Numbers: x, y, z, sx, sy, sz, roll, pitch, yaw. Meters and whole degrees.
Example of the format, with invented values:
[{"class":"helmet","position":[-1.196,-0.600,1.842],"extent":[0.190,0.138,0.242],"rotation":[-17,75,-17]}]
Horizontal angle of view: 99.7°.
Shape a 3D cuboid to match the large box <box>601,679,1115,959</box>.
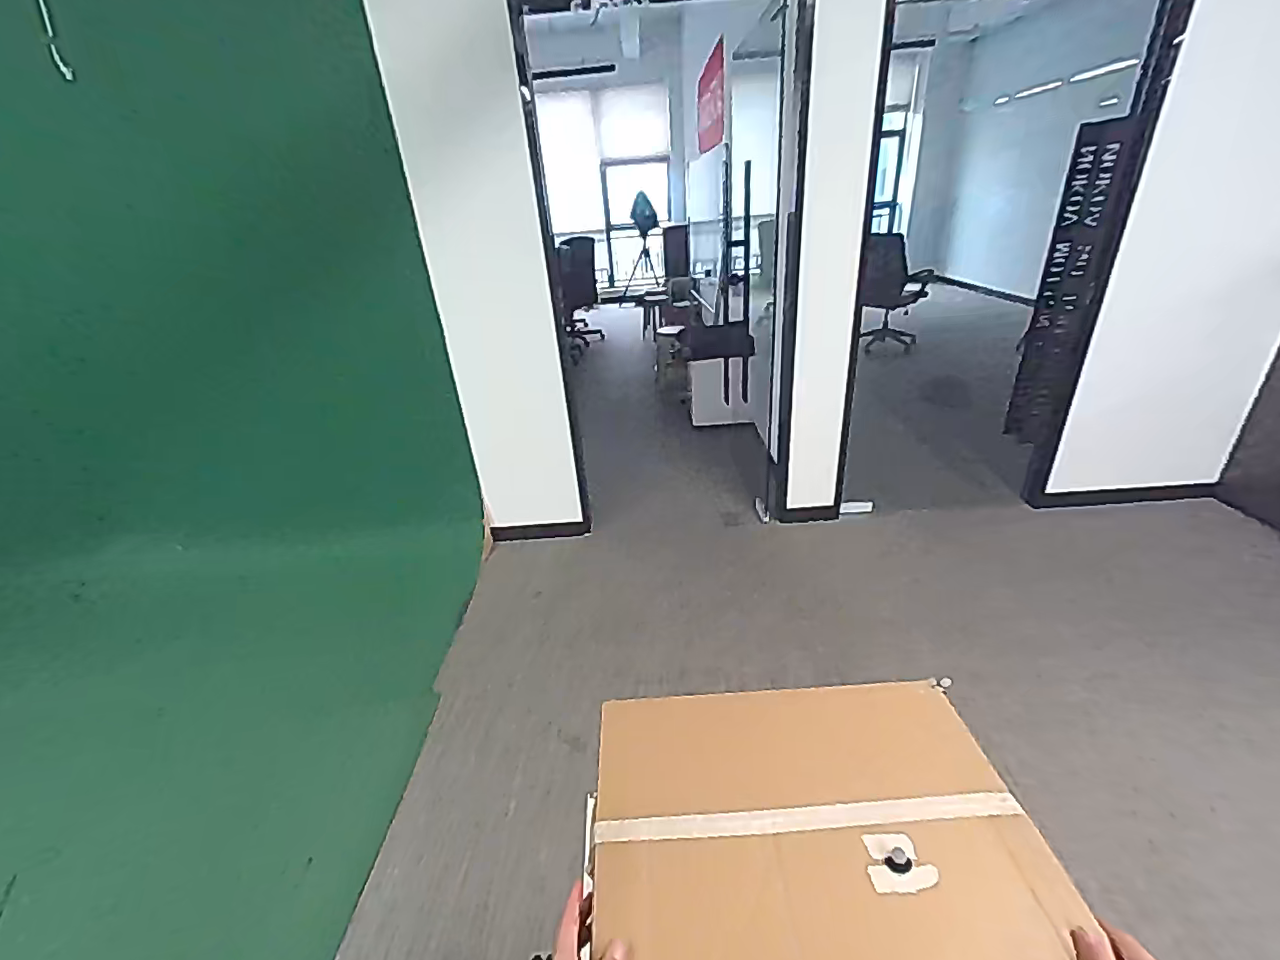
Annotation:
[{"class":"large box","position":[0.168,0.458,0.591],"extent":[0.408,0.320,0.320],"rotation":[-3,28,0]}]
